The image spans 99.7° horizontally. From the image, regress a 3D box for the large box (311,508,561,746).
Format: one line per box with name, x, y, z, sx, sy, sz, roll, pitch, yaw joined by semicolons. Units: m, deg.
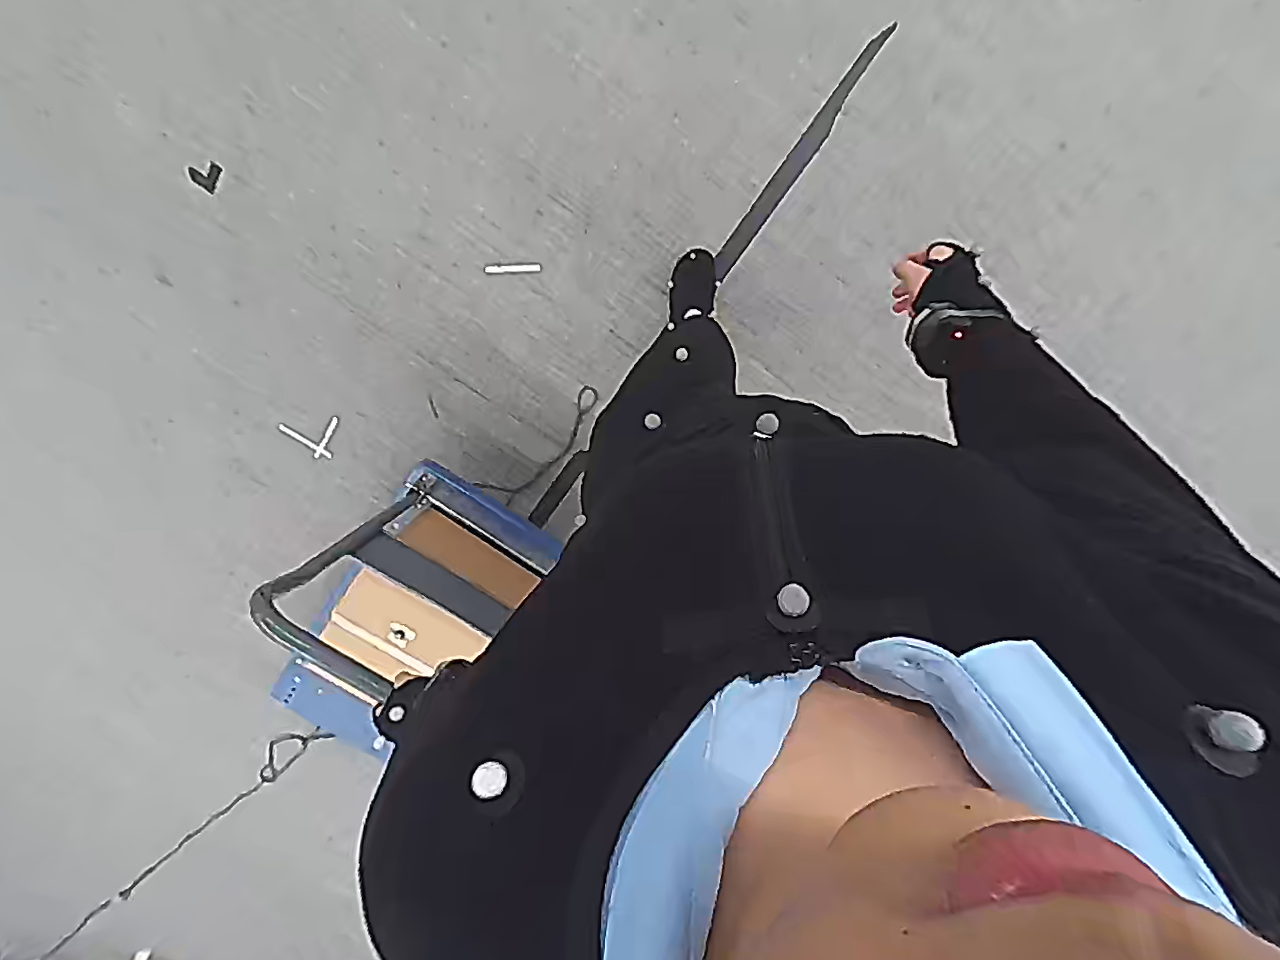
large box;-0.457;0.334;1.294;0.408;0.320;0.320;35;104;-8
